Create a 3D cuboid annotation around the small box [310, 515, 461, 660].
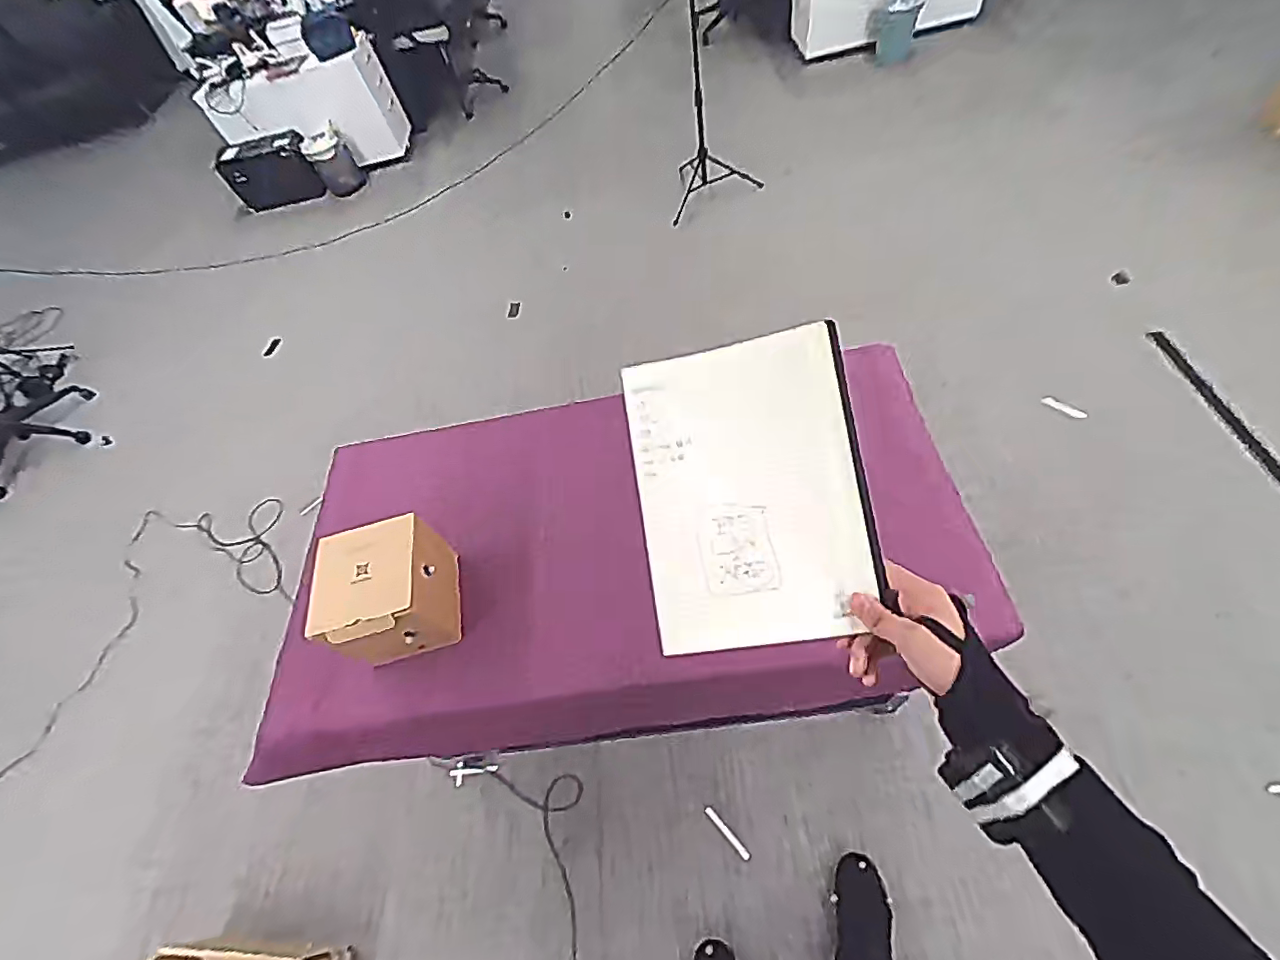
[{"bbox_3d":[-0.414,0.189,0.910,0.168,0.176,0.179,-16,55,1],"label":"small box"}]
